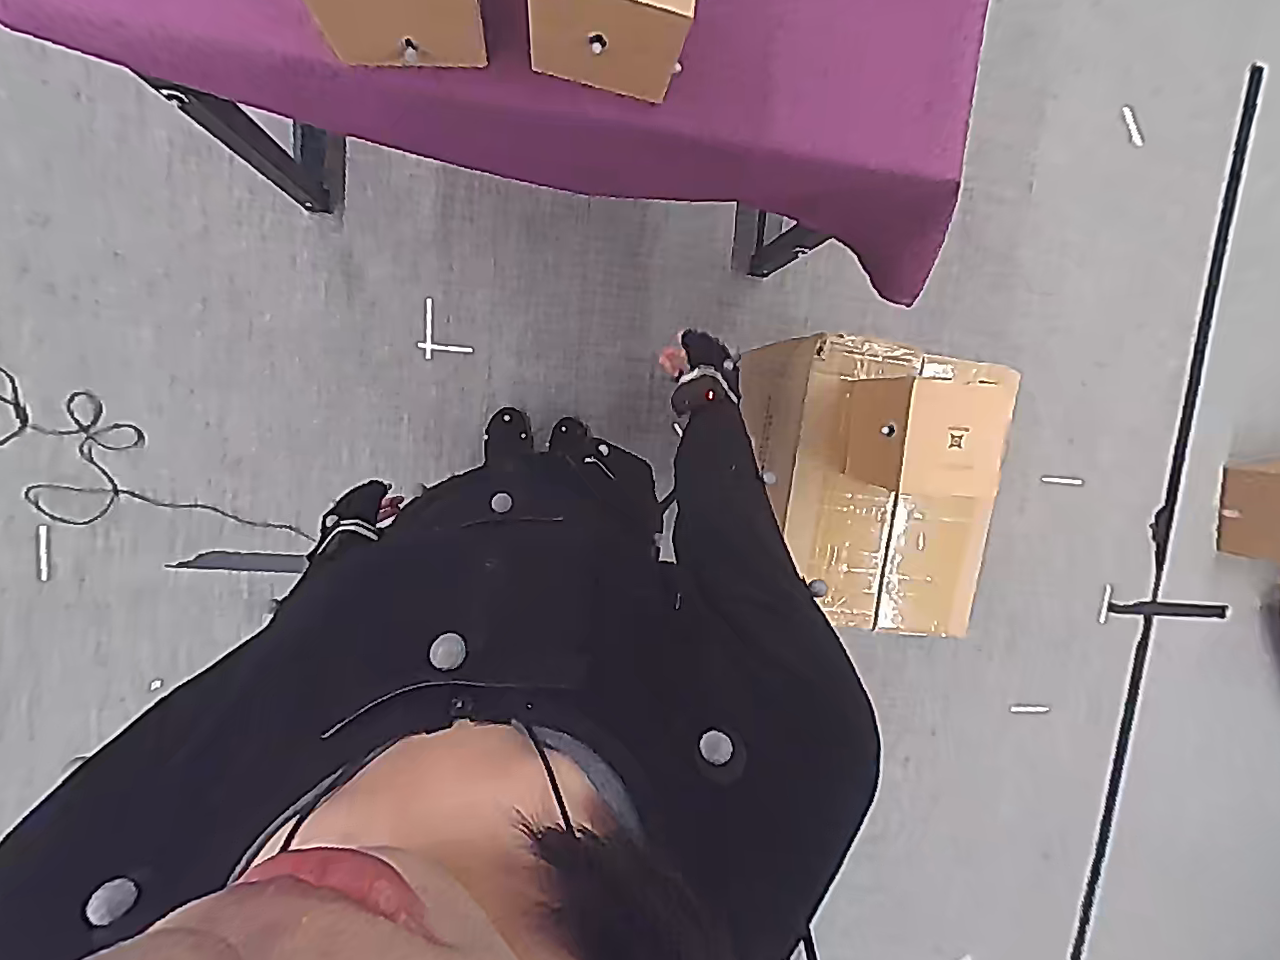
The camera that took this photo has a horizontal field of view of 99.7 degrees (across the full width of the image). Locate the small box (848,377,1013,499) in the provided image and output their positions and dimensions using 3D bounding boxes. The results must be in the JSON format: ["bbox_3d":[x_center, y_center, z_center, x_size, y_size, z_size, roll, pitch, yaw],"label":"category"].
[{"bbox_3d":[0.460,-0.071,0.882,0.168,0.176,0.179,3,98,-7],"label":"small box"}]

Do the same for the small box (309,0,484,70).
[{"bbox_3d":[-0.270,-0.585,0.588,0.179,0.176,0.168,-7,98,-10],"label":"small box"}]

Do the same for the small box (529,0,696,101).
[{"bbox_3d":[-0.028,-0.584,0.628,0.179,0.176,0.168,8,95,-10],"label":"small box"}]
